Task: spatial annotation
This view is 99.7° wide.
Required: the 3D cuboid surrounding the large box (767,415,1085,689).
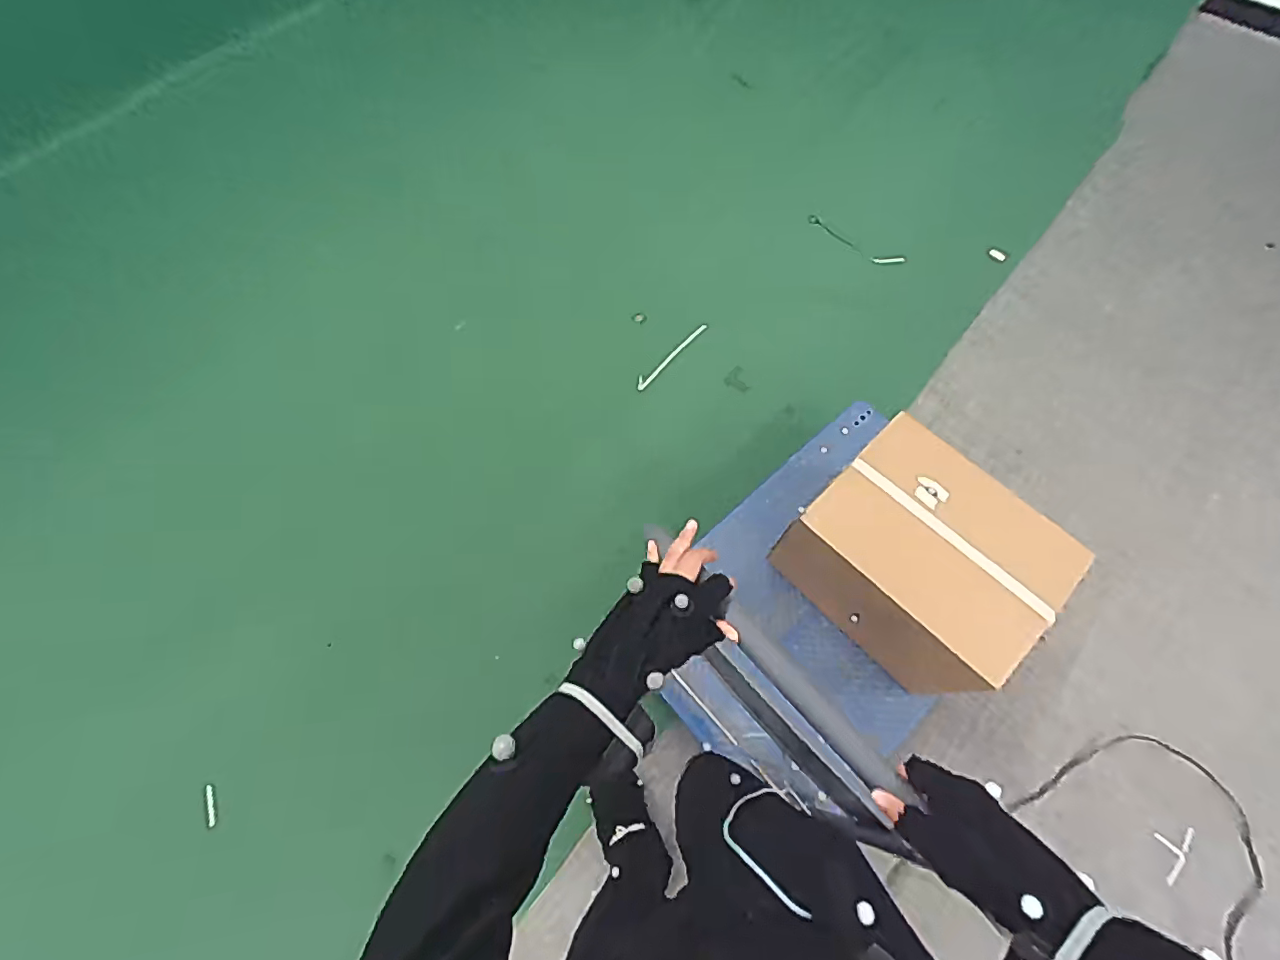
[{"bbox_3d":[0.526,0.155,1.083,0.320,0.320,0.408,-42,71,-14],"label":"large box"}]
